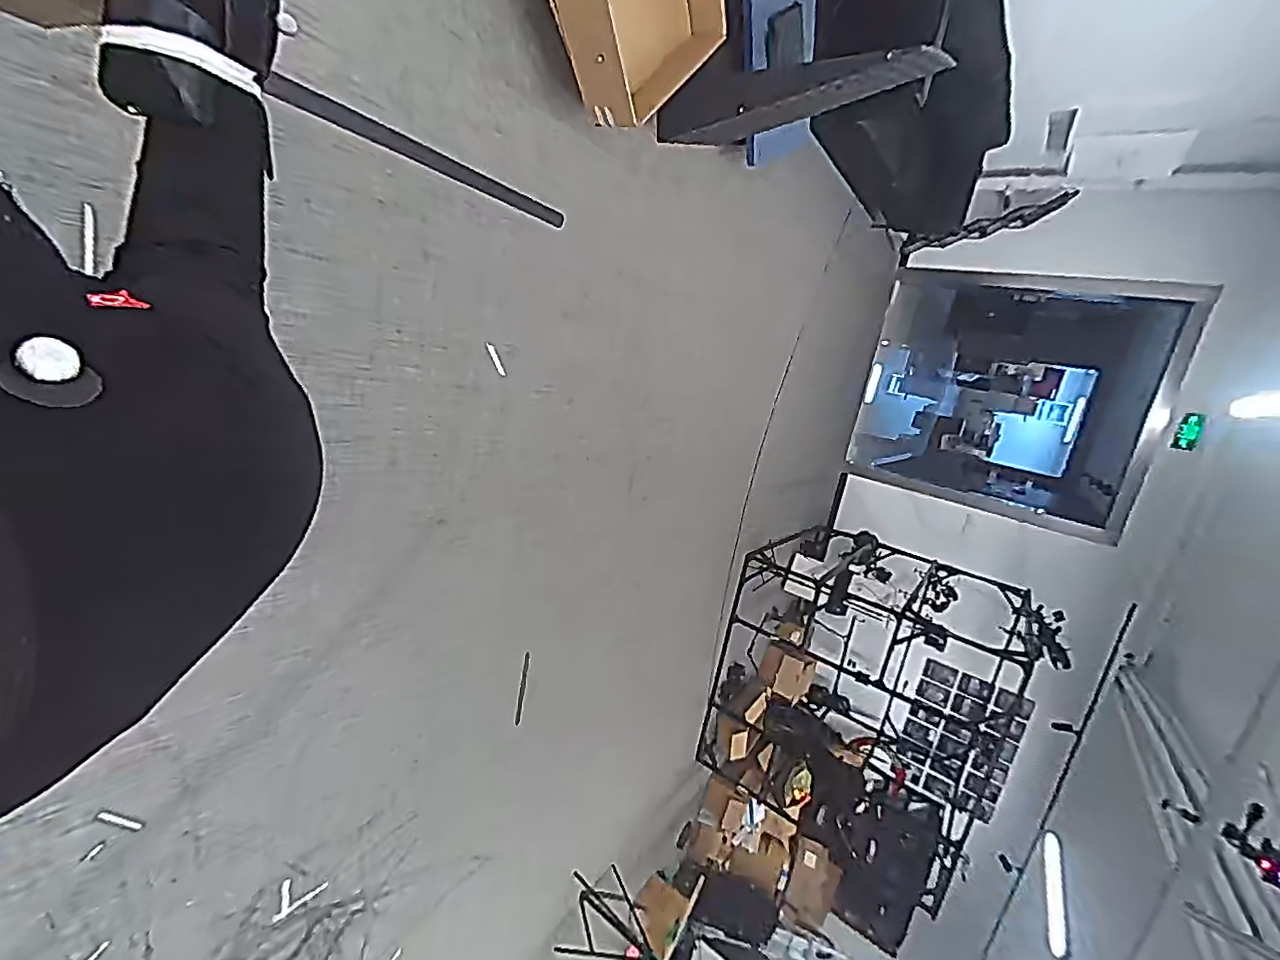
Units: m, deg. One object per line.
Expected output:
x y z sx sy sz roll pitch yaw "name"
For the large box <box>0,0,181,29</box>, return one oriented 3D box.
-0.491 -0.480 0.223 0.408 0.320 0.320 -7 120 -59 "large box"
